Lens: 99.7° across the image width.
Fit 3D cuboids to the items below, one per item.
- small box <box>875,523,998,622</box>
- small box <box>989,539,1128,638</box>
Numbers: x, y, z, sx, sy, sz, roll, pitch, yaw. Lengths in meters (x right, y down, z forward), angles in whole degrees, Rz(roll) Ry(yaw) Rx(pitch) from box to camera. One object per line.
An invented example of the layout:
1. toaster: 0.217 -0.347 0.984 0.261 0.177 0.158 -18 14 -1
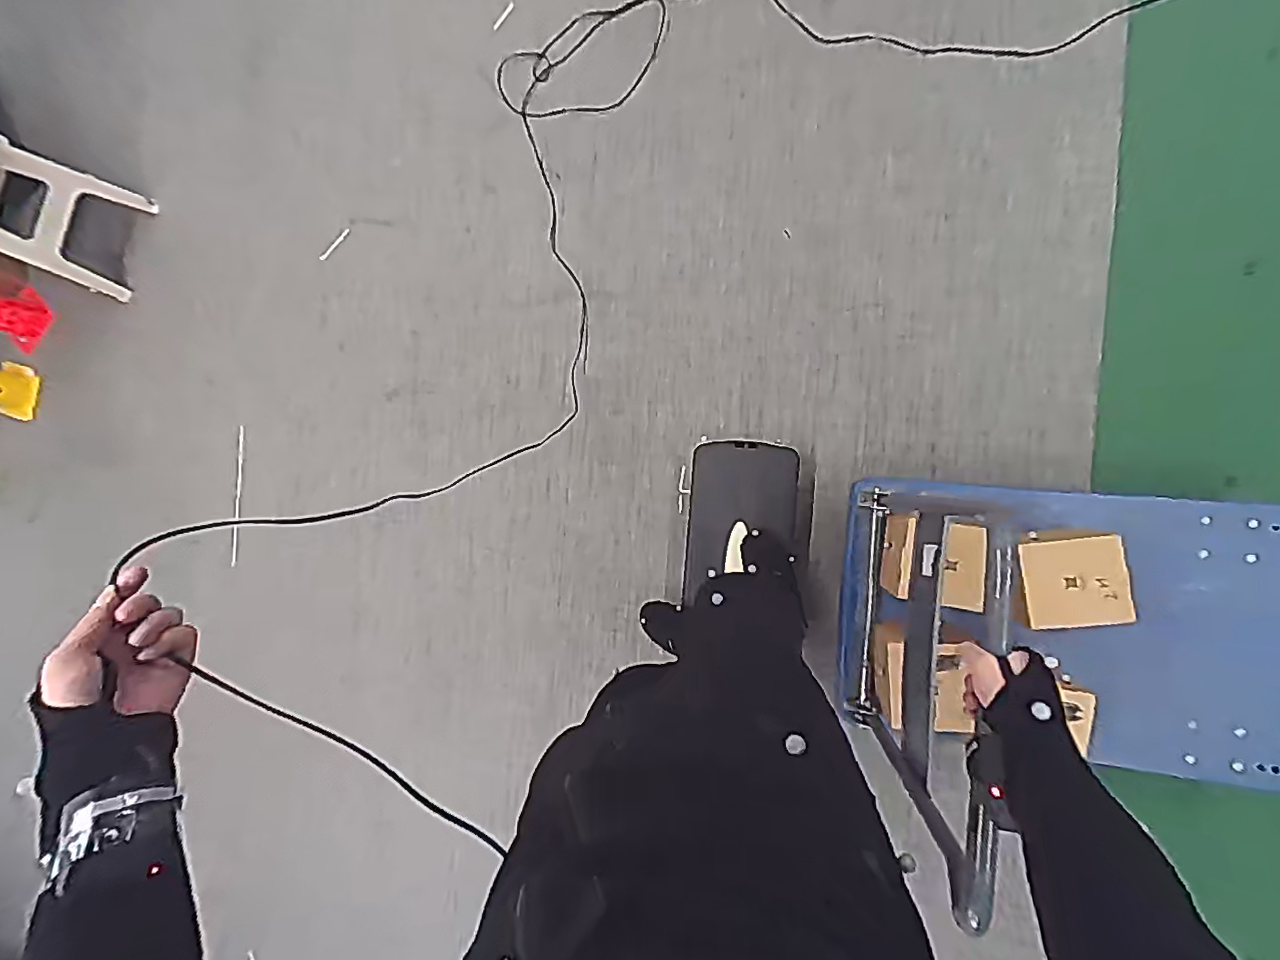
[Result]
1. small box: 0.615 0.186 1.142 0.179 0.176 0.168 9 91 13
2. small box: 0.823 0.214 1.092 0.179 0.176 0.168 -7 87 12
